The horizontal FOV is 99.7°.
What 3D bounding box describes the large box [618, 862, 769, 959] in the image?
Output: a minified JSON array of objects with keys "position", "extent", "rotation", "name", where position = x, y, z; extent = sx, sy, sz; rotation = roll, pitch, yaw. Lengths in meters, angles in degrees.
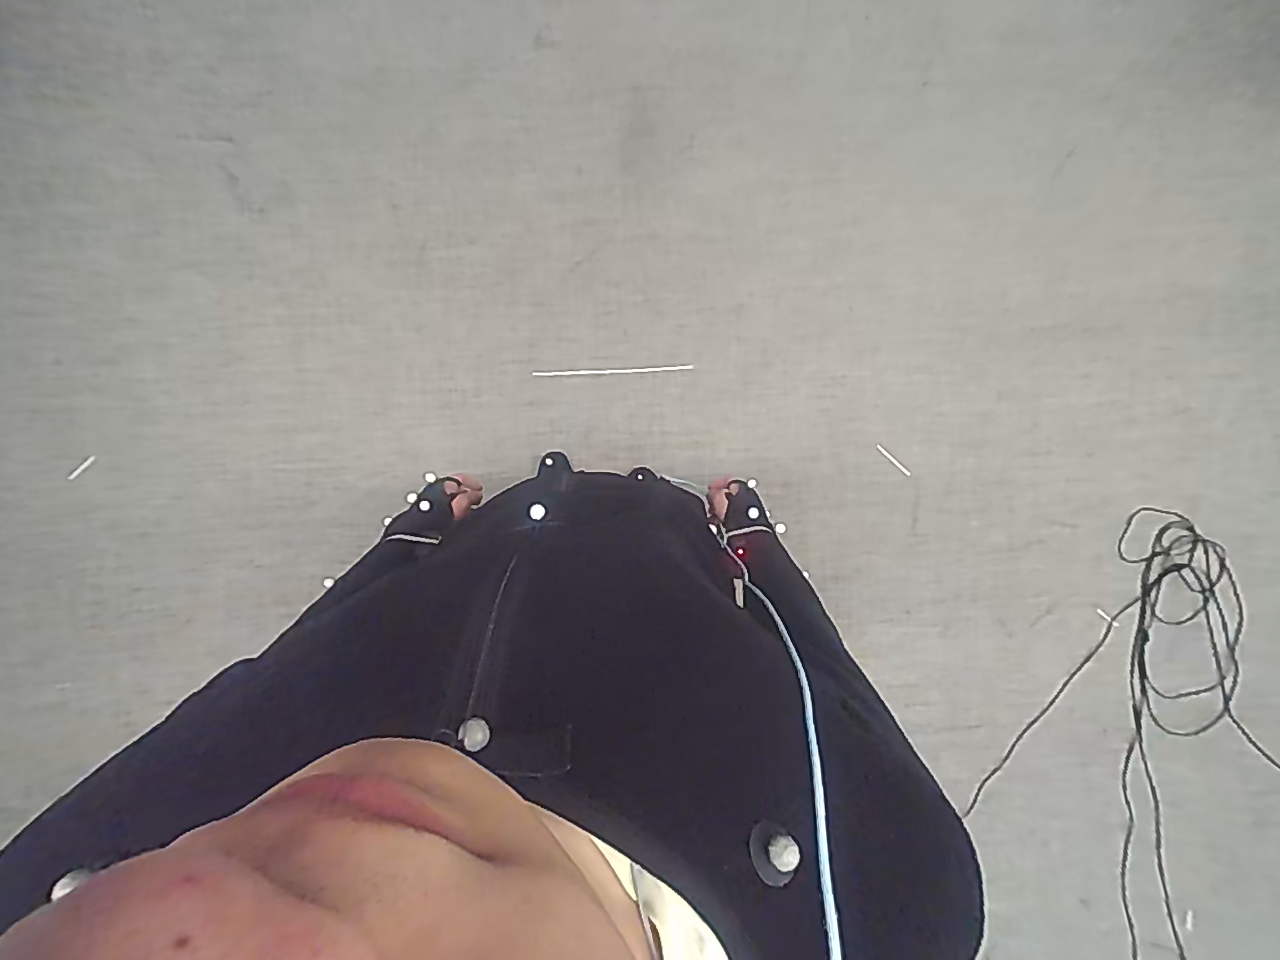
[{"position":[0.149,1.384,1.570],"extent":[0.408,0.320,0.320],"rotation":[-4,92,-1],"name":"large box"}]
